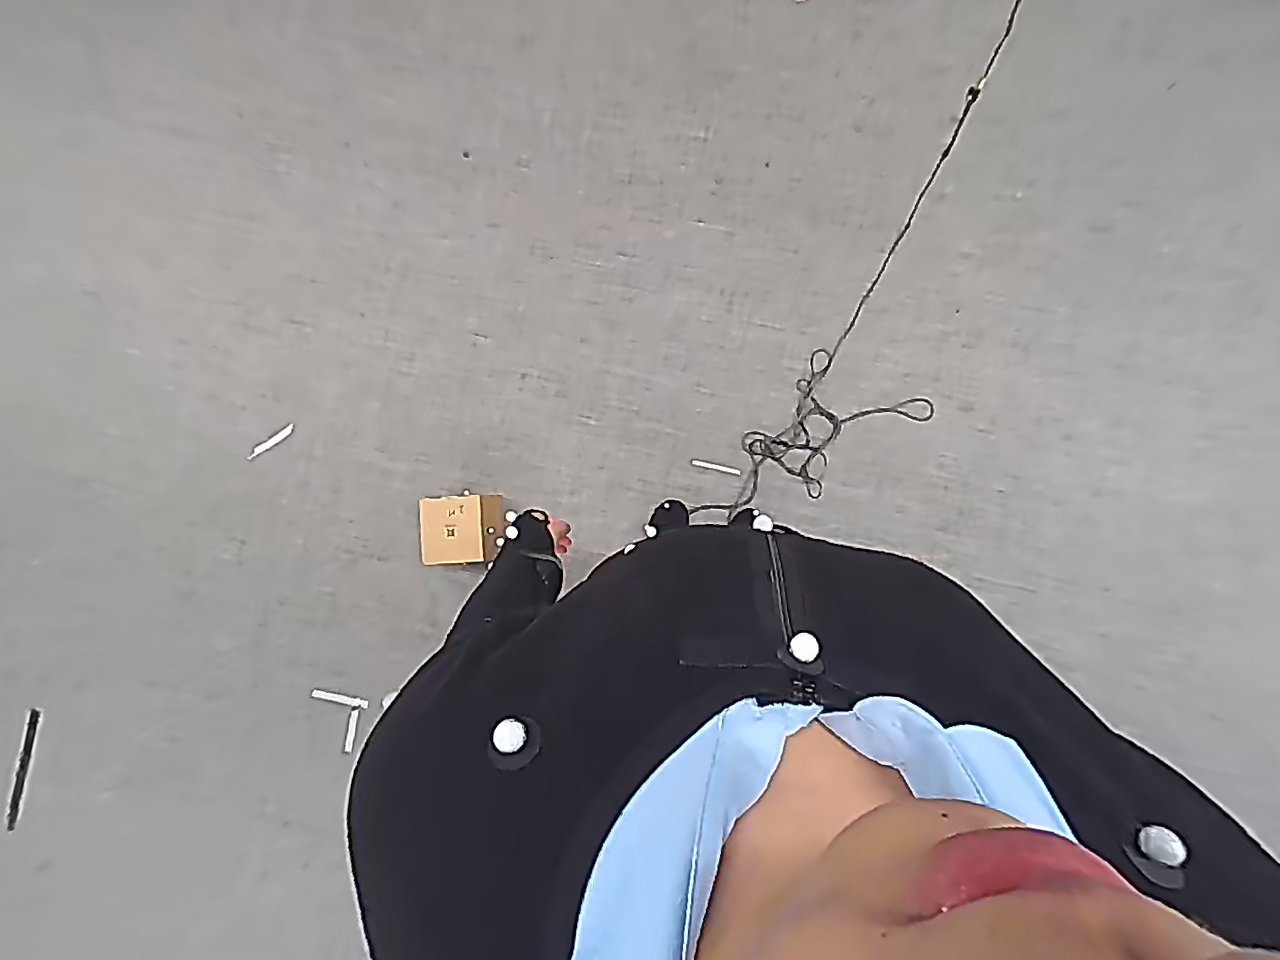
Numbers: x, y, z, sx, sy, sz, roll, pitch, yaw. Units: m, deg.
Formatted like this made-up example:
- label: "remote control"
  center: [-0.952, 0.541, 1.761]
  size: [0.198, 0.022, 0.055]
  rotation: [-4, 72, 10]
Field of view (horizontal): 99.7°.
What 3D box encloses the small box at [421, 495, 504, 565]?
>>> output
- label: "small box"
  center: [-0.478, 0.132, 1.475]
  size: [0.168, 0.176, 0.179]
  rotation: [-4, 87, 5]
